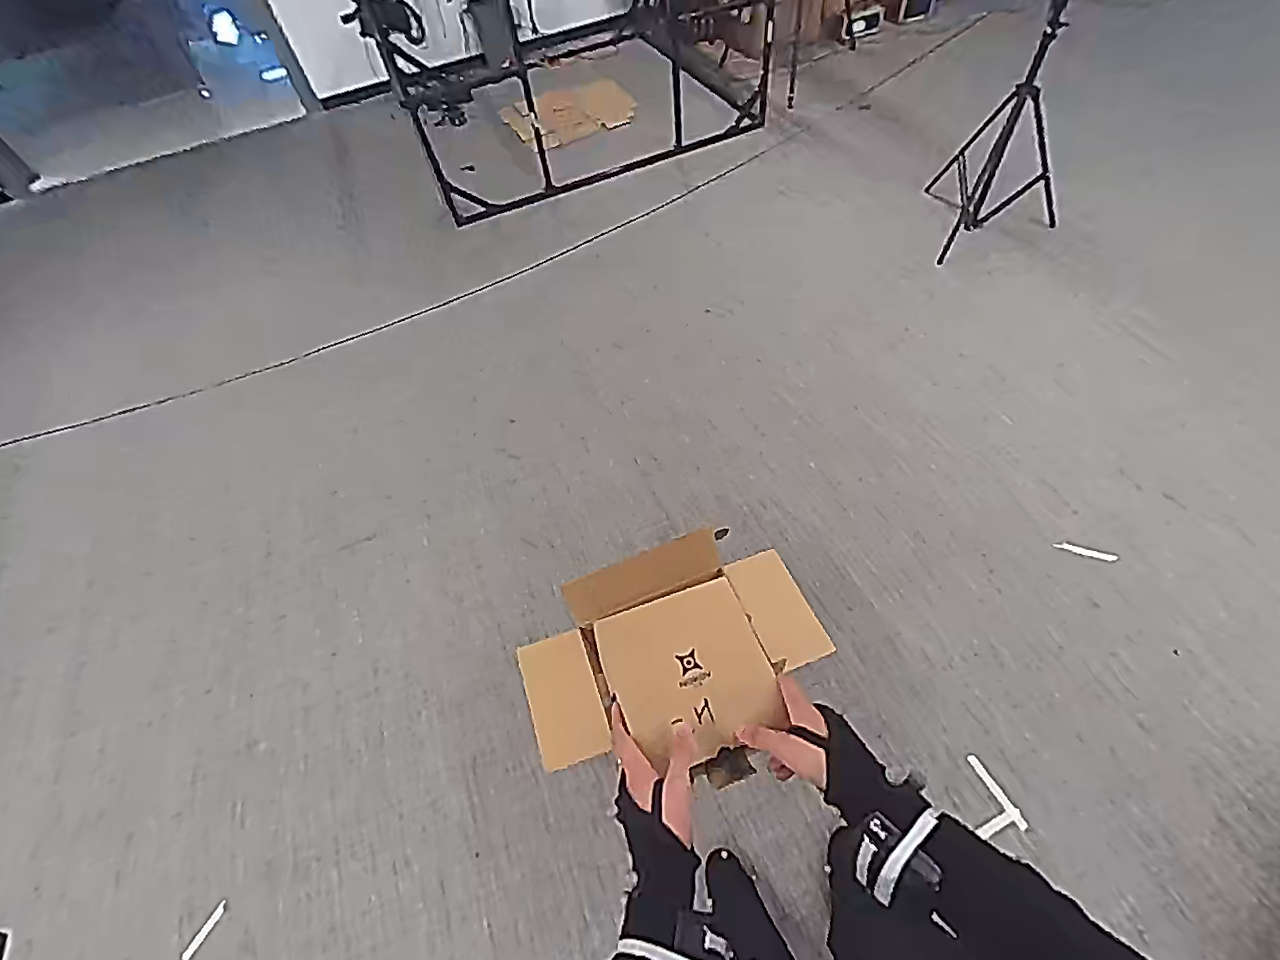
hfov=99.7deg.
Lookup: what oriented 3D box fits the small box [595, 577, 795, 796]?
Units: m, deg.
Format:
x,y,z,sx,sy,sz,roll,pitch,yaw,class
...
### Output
x,y,z,sx,sy,sz,roll,pitch,yaw,class
0.051,0.246,0.639,0.168,0.176,0.179,-18,58,-11,small box
